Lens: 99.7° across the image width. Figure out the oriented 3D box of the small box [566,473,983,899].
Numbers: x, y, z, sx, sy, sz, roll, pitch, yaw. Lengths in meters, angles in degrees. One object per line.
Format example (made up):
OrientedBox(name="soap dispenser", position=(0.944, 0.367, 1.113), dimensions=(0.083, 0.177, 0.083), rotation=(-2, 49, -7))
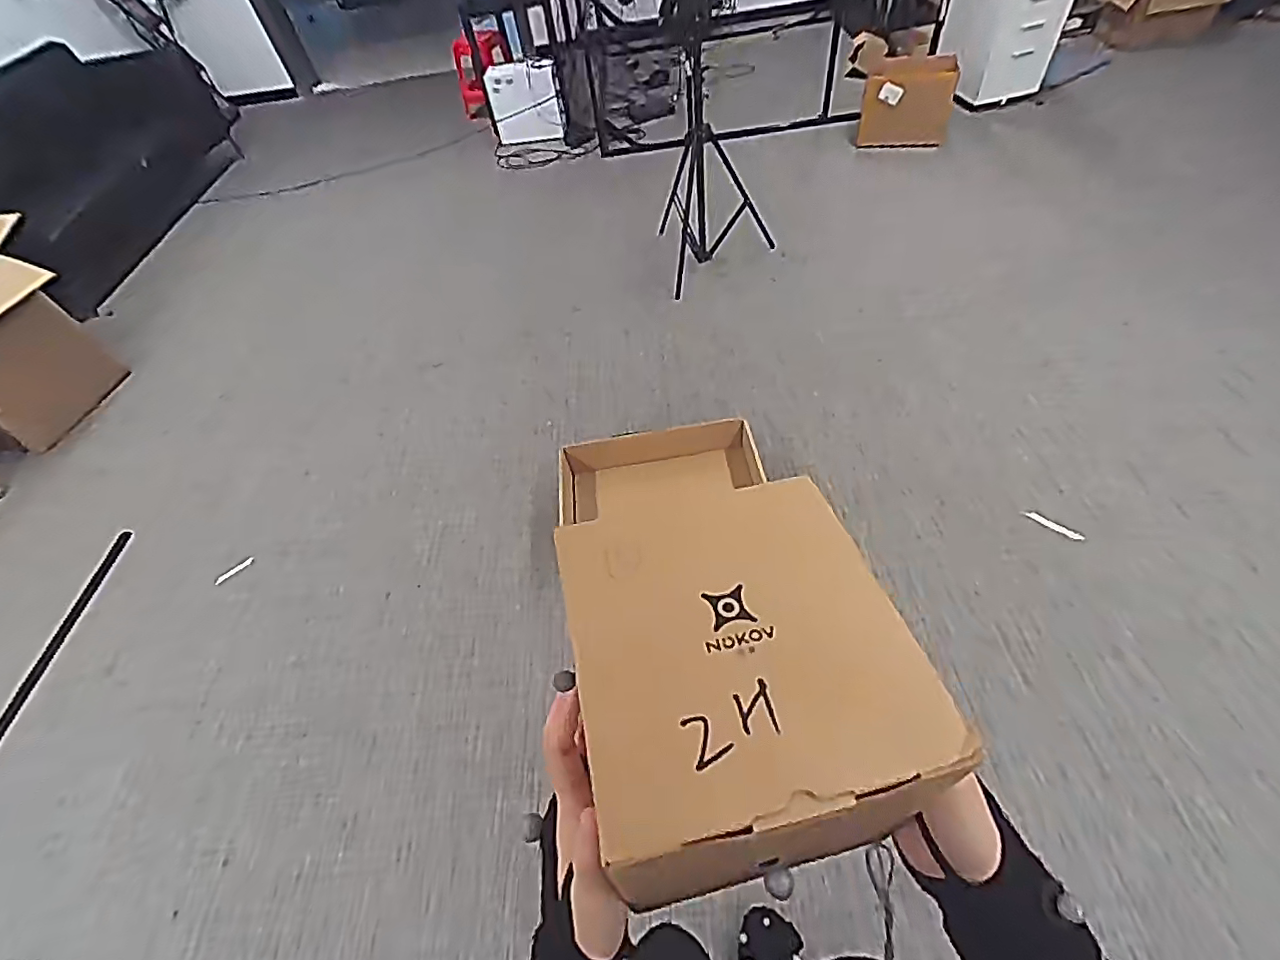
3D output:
OrientedBox(name="small box", position=(0.055, 0.125, 0.337), dimensions=(0.168, 0.176, 0.179), rotation=(-12, 47, -6))
